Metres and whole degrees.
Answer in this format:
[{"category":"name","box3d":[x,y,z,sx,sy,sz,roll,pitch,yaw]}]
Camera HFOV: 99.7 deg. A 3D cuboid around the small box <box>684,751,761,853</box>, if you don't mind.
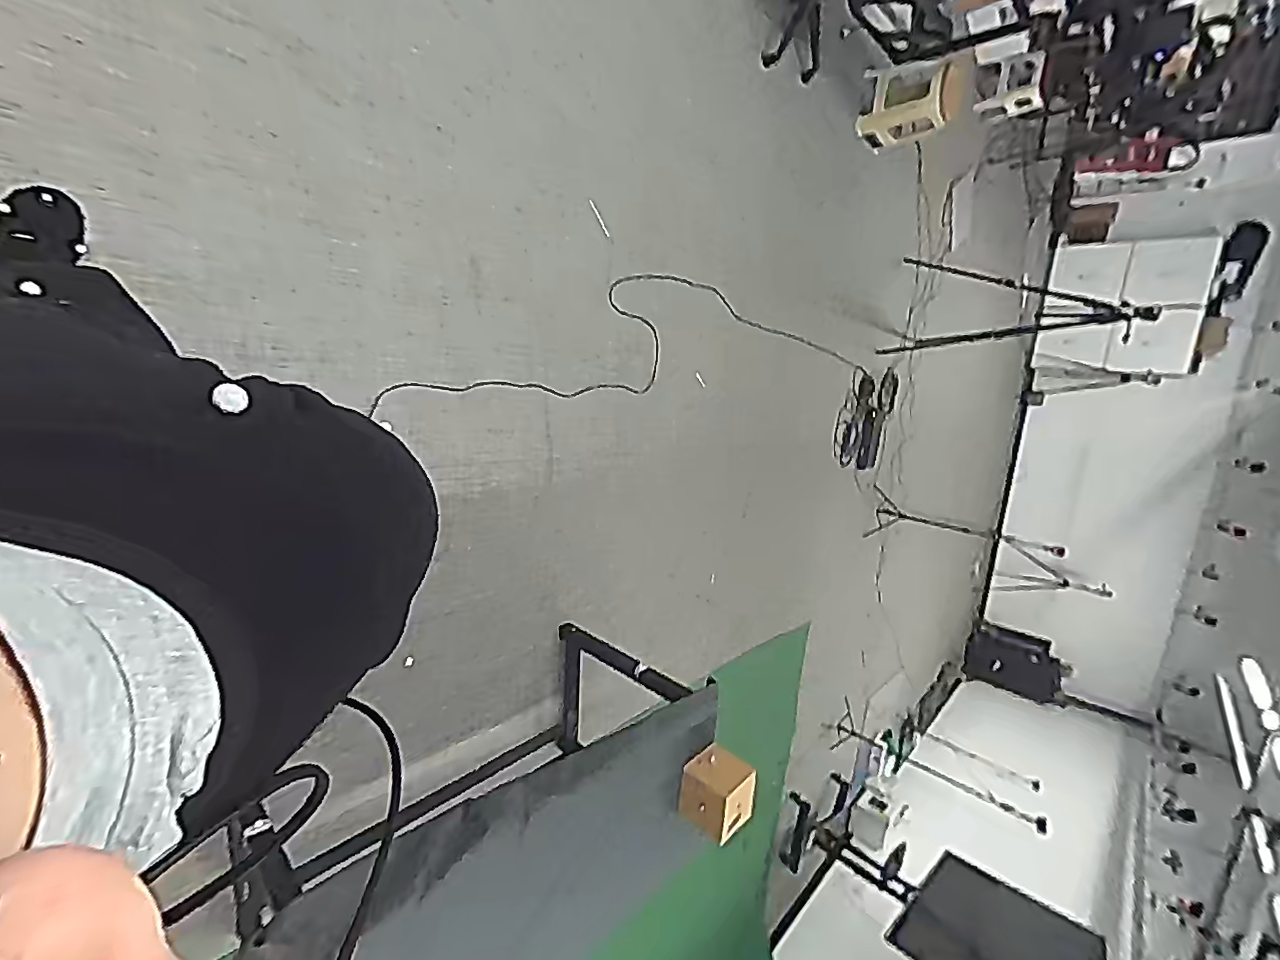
[{"category":"small box","box3d":[0.252,0.991,1.680,0.168,0.176,0.179,-10,108,-46]}]
